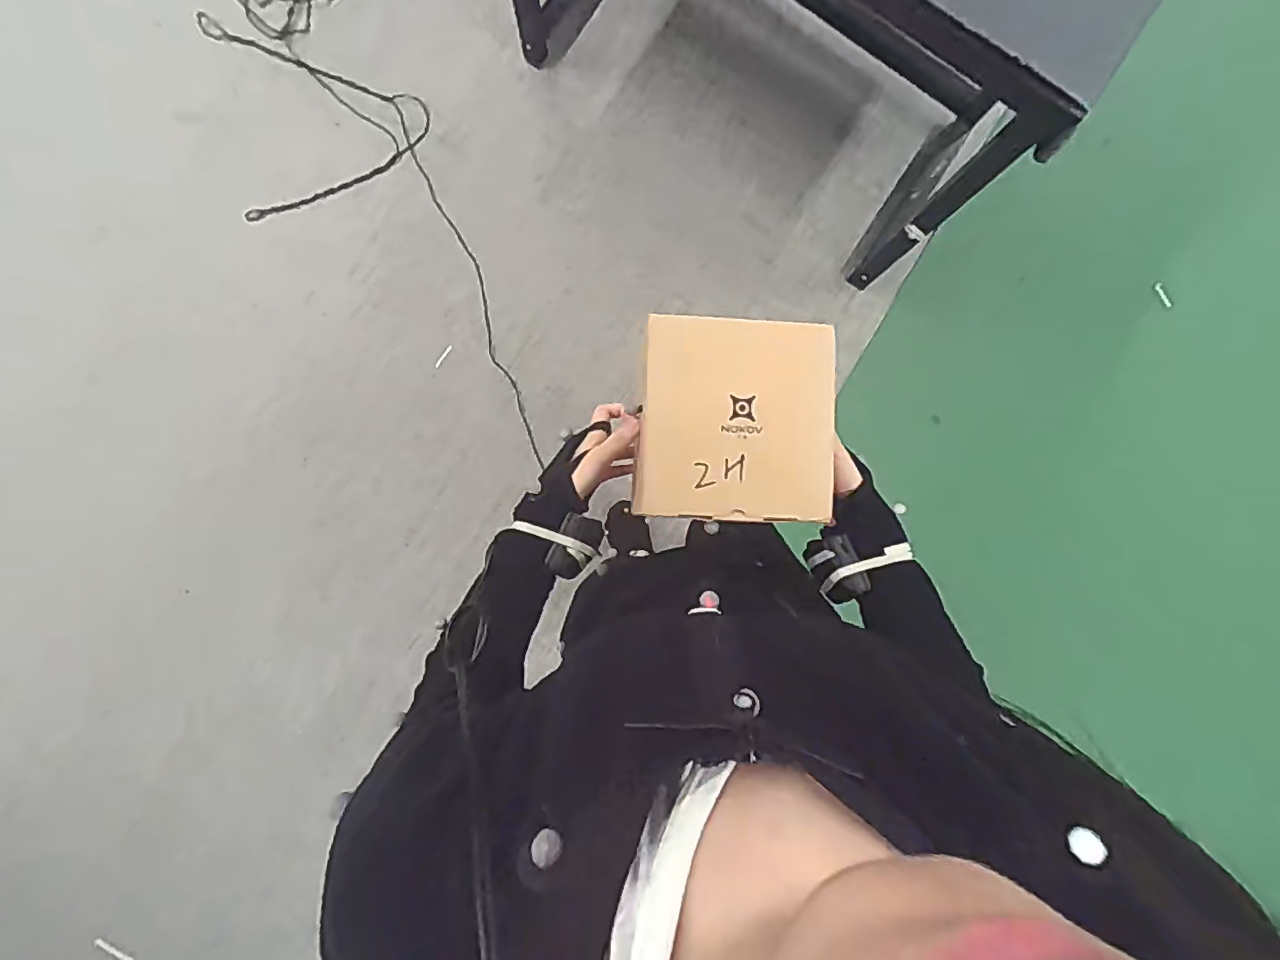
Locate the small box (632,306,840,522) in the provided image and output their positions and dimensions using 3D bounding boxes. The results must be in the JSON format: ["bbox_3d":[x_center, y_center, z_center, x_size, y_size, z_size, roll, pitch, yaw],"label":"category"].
[{"bbox_3d":[0.080,-0.051,0.531,0.168,0.176,0.179,3,86,-3],"label":"small box"}]
